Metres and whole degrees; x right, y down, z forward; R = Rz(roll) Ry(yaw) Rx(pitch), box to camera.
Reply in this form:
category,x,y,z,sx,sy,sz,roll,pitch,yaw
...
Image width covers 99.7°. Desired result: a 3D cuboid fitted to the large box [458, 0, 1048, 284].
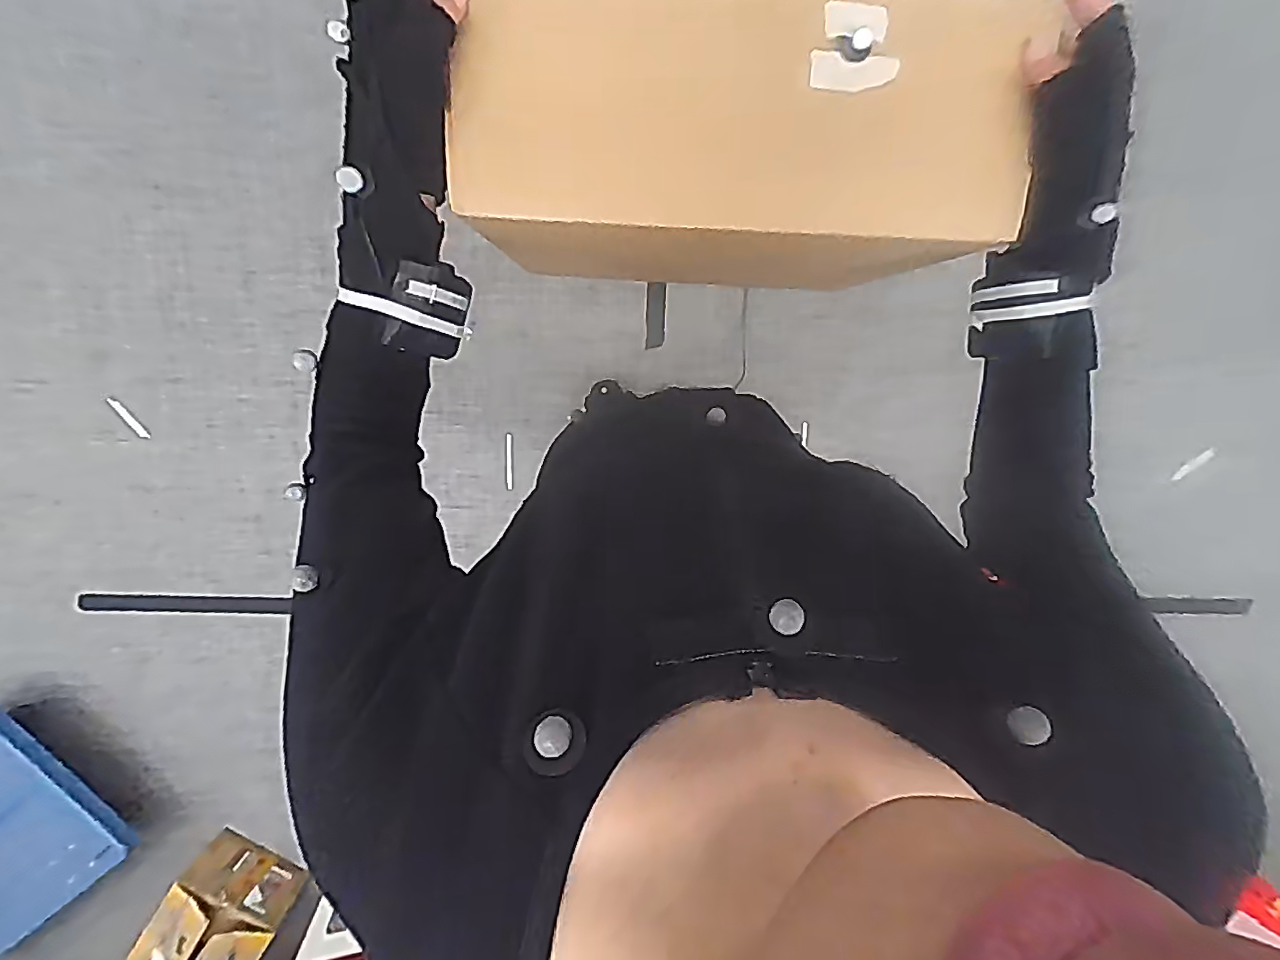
category,x,y,z,sx,sy,sz,roll,pitch,yaw
large box,0.070,-0.366,0.501,0.408,0.320,0.320,1,103,-3
